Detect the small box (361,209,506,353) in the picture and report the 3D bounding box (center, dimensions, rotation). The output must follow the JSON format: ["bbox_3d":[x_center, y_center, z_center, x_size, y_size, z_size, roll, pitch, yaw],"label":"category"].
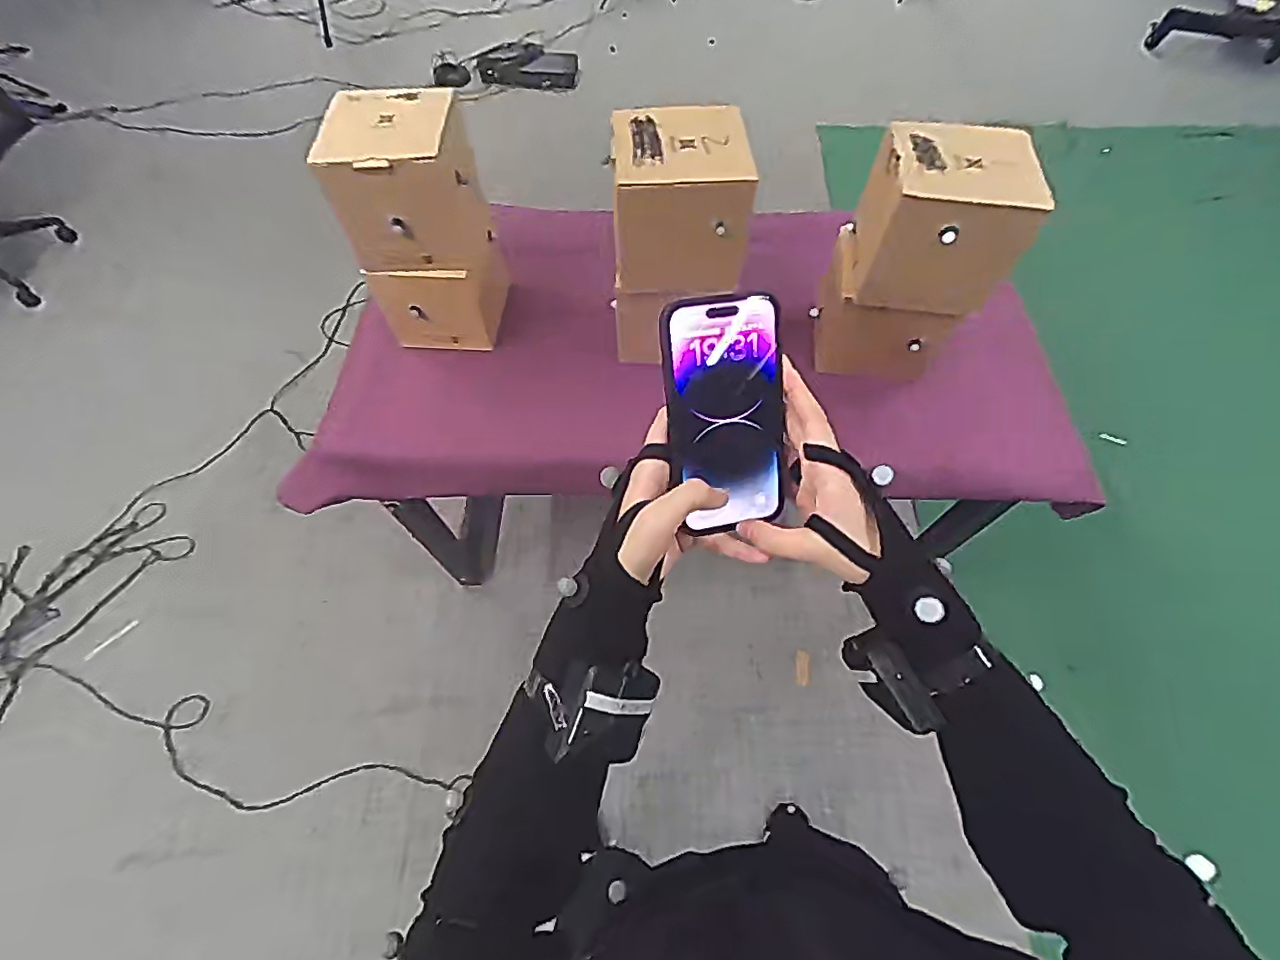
[{"bbox_3d":[-0.338,-0.337,0.928,0.168,0.176,0.179,2,61,3],"label":"small box"}]

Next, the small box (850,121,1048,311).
[{"bbox_3d":[0.395,-0.351,0.733,0.179,0.176,0.168,7,61,5],"label":"small box"}]

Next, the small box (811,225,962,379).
[{"bbox_3d":[0.390,-0.284,0.883,0.179,0.176,0.168,7,61,6],"label":"small box"}]

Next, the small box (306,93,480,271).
[{"bbox_3d":[-0.341,-0.425,0.789,0.168,0.176,0.179,-2,61,-1],"label":"small box"}]

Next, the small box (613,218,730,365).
[{"bbox_3d":[0.051,-0.307,0.902,0.179,0.176,0.168,2,60,2],"label":"small box"}]
